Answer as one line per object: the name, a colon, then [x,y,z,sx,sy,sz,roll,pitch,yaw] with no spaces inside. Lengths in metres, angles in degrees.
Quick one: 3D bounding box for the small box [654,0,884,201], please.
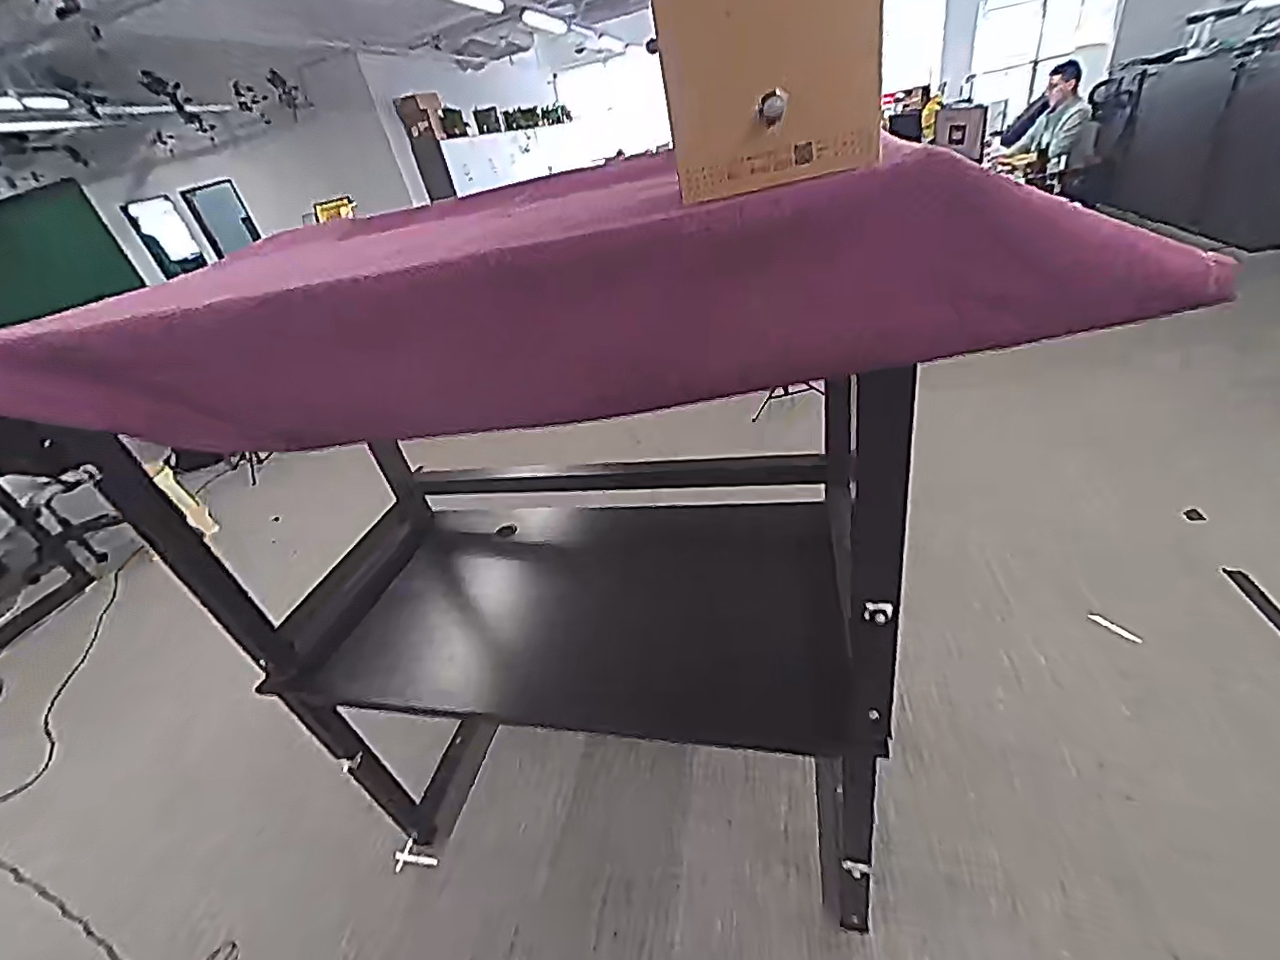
small box: [0.108,-0.360,0.482,0.168,0.176,0.179,-8,31,11]
